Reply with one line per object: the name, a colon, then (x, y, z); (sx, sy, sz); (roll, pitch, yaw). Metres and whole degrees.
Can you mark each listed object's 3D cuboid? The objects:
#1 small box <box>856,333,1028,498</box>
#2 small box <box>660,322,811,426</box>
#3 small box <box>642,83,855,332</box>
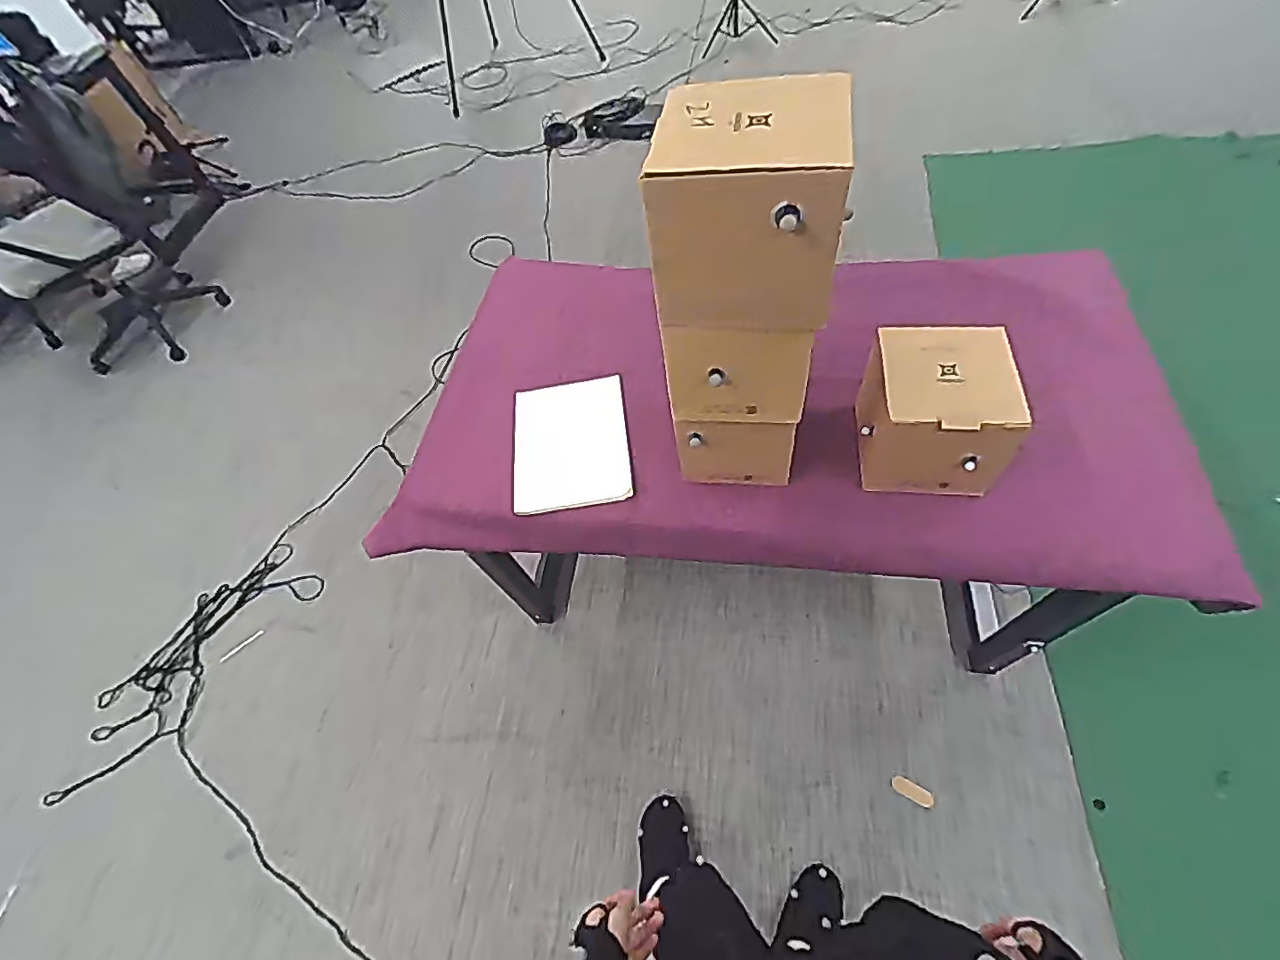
small box: (0.417, -0.090, 0.781); (0.168, 0.176, 0.179); (4, 57, 11)
small box: (0.127, -0.185, 0.695); (0.168, 0.176, 0.179); (3, 57, 12)
small box: (0.111, -0.269, 0.553); (0.179, 0.176, 0.168); (5, 57, 13)
